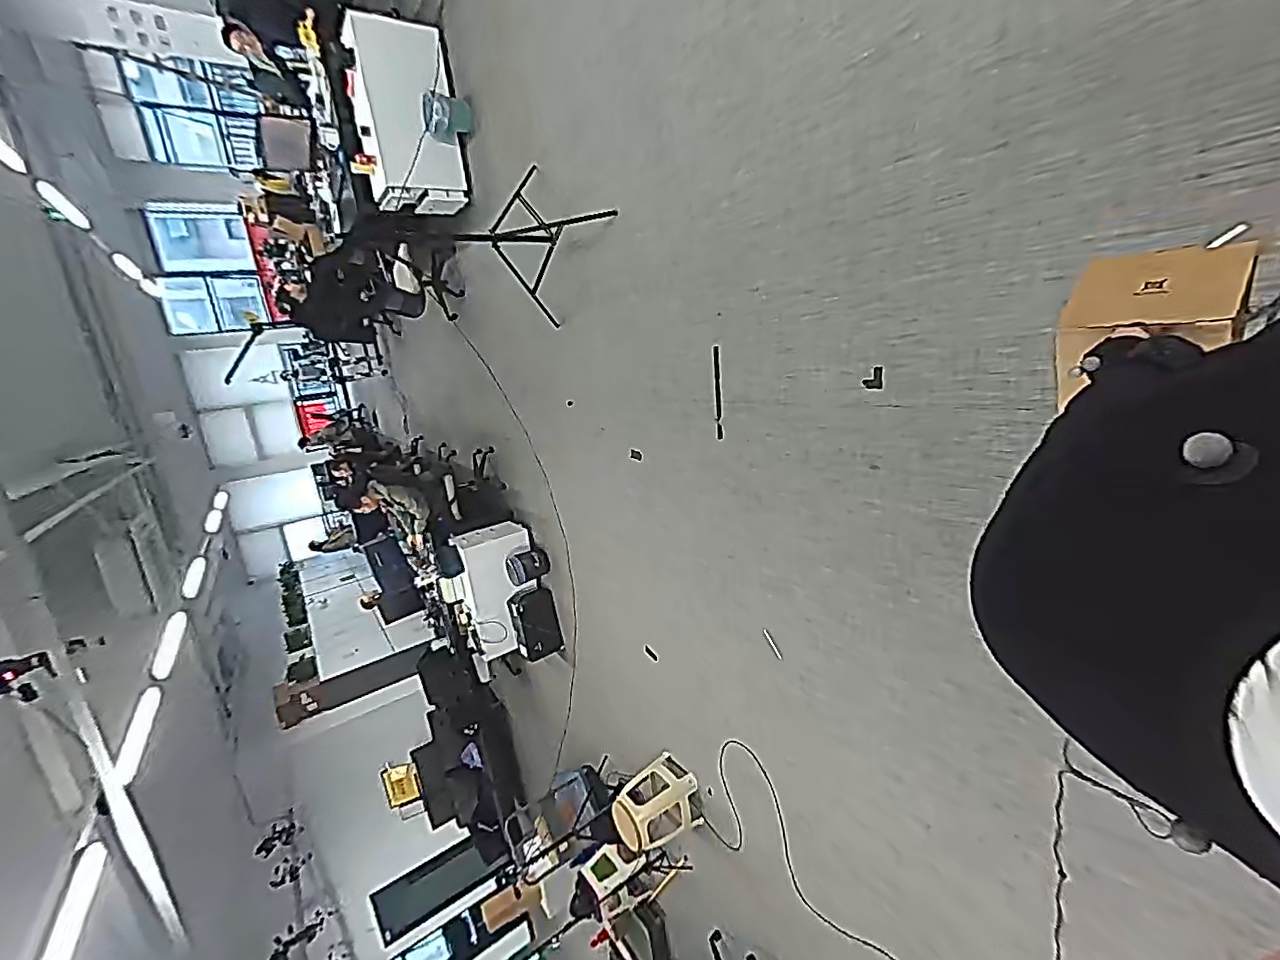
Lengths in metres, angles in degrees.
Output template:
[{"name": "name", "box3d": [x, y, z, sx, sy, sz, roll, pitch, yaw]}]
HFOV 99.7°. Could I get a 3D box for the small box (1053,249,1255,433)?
[{"name": "small box", "box3d": [0.693, -0.182, 0.738, 0.168, 0.179, 0.176, 13, 143, 48]}]
